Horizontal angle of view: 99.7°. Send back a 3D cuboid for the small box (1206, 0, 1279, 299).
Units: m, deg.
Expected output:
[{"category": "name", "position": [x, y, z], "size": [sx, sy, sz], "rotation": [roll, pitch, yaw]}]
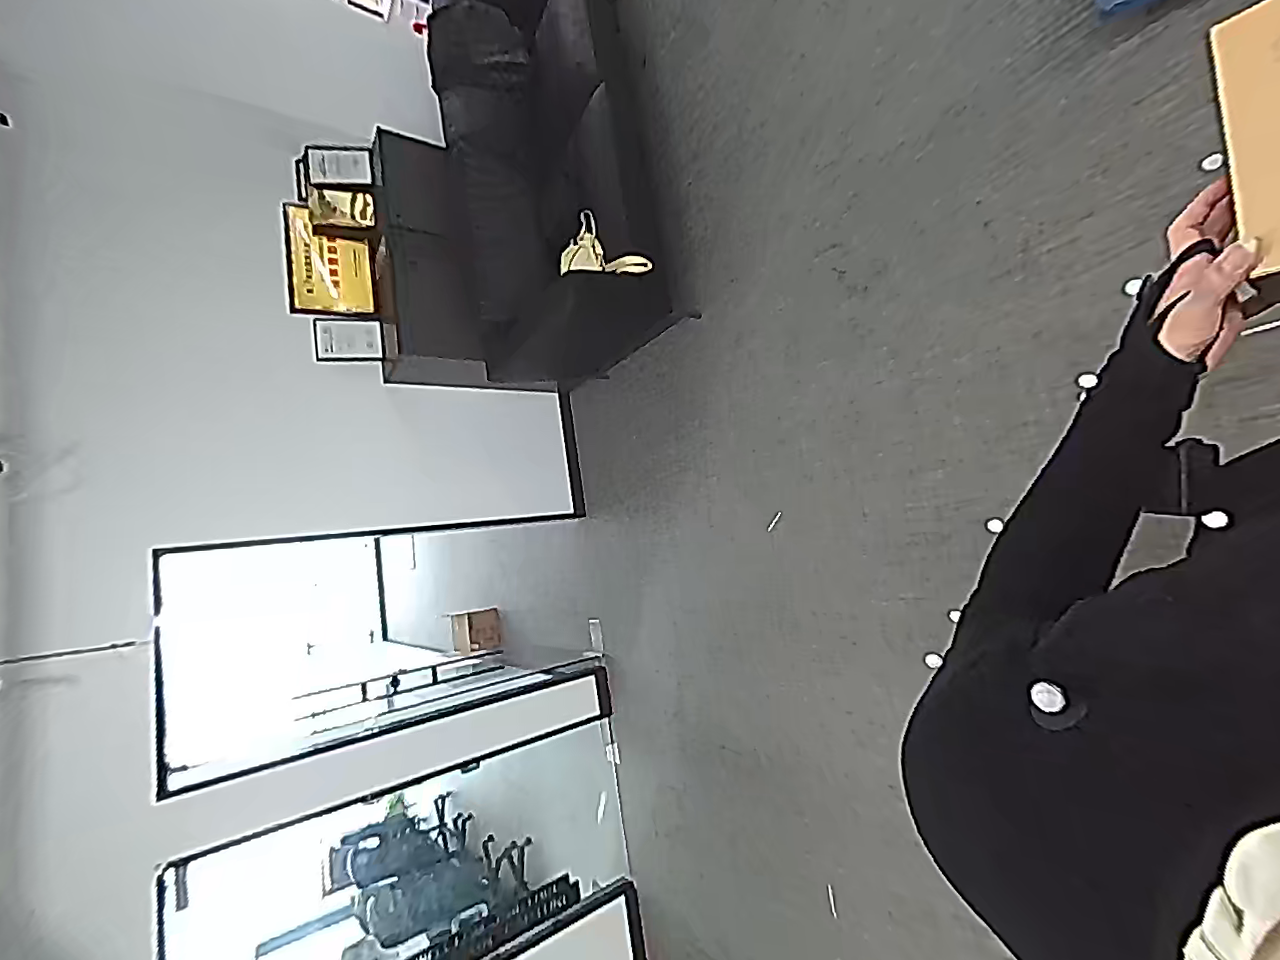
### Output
[{"category": "small box", "position": [0.516, -0.240, 0.364], "size": [0.168, 0.176, 0.179], "rotation": [-7, 90, 53]}]
